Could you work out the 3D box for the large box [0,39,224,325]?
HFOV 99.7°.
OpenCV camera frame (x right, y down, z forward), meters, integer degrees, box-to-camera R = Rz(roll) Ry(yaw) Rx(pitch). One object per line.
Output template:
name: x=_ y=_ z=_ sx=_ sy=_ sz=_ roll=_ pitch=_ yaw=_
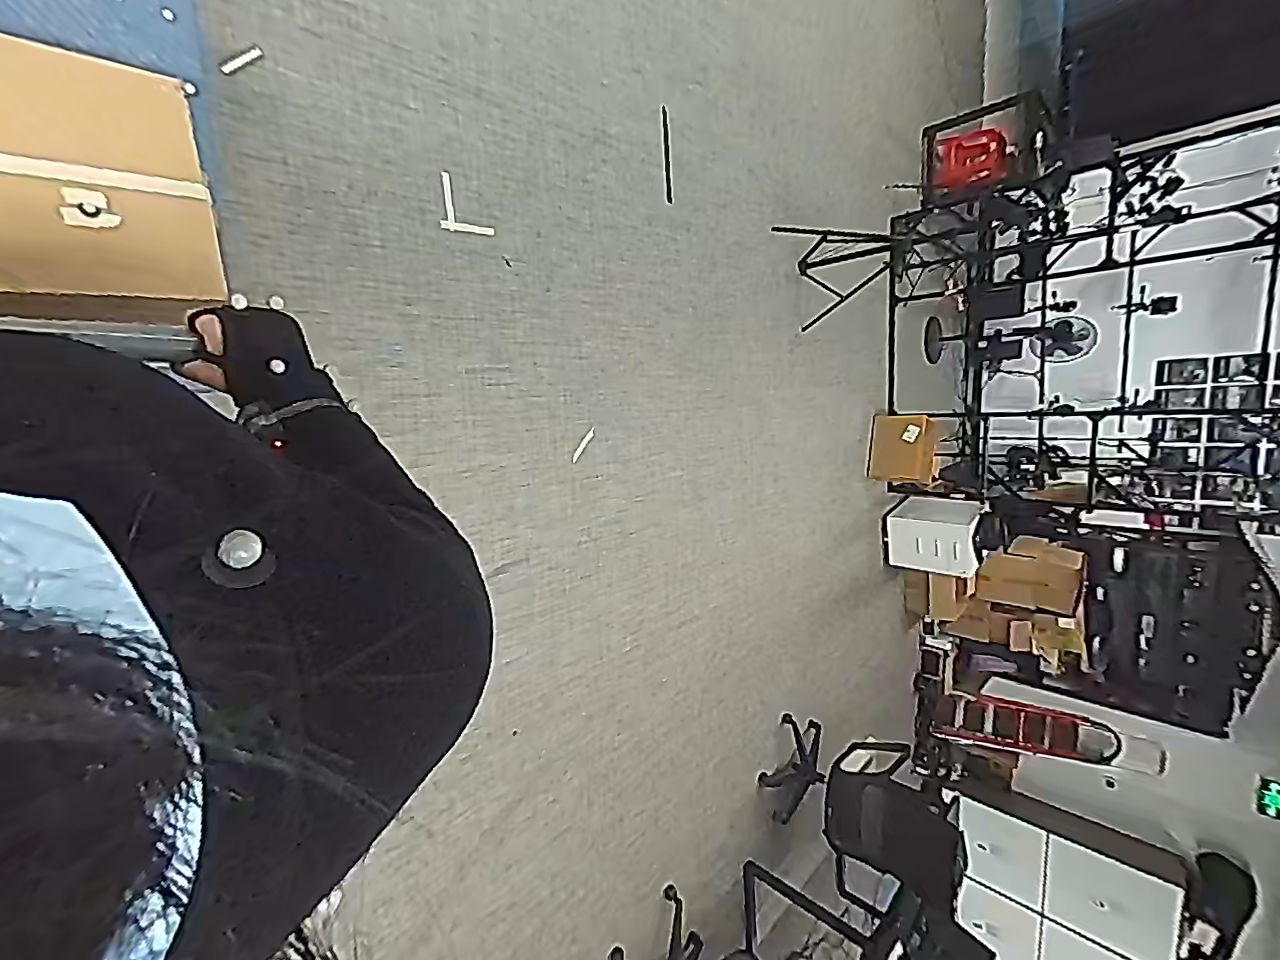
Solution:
large box: x=-0.909 y=-0.402 z=0.782 sx=0.408 sy=0.320 sz=0.320 roll=-15 pitch=105 yaw=-46
